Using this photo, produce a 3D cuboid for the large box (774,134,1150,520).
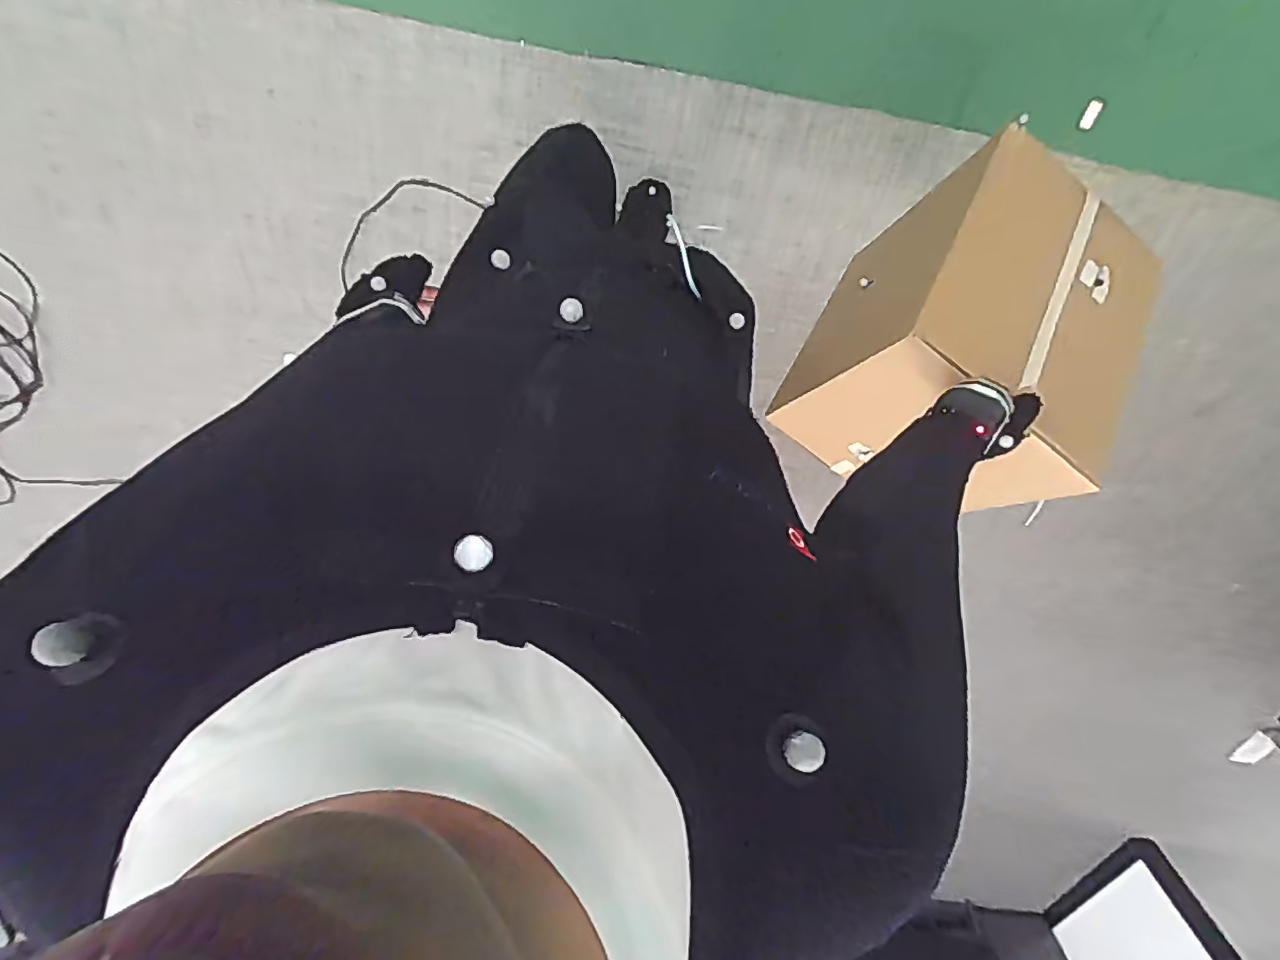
[{"bbox_3d":[0.473,-0.199,0.831,0.320,0.408,0.320,35,160,-9],"label":"large box"}]
